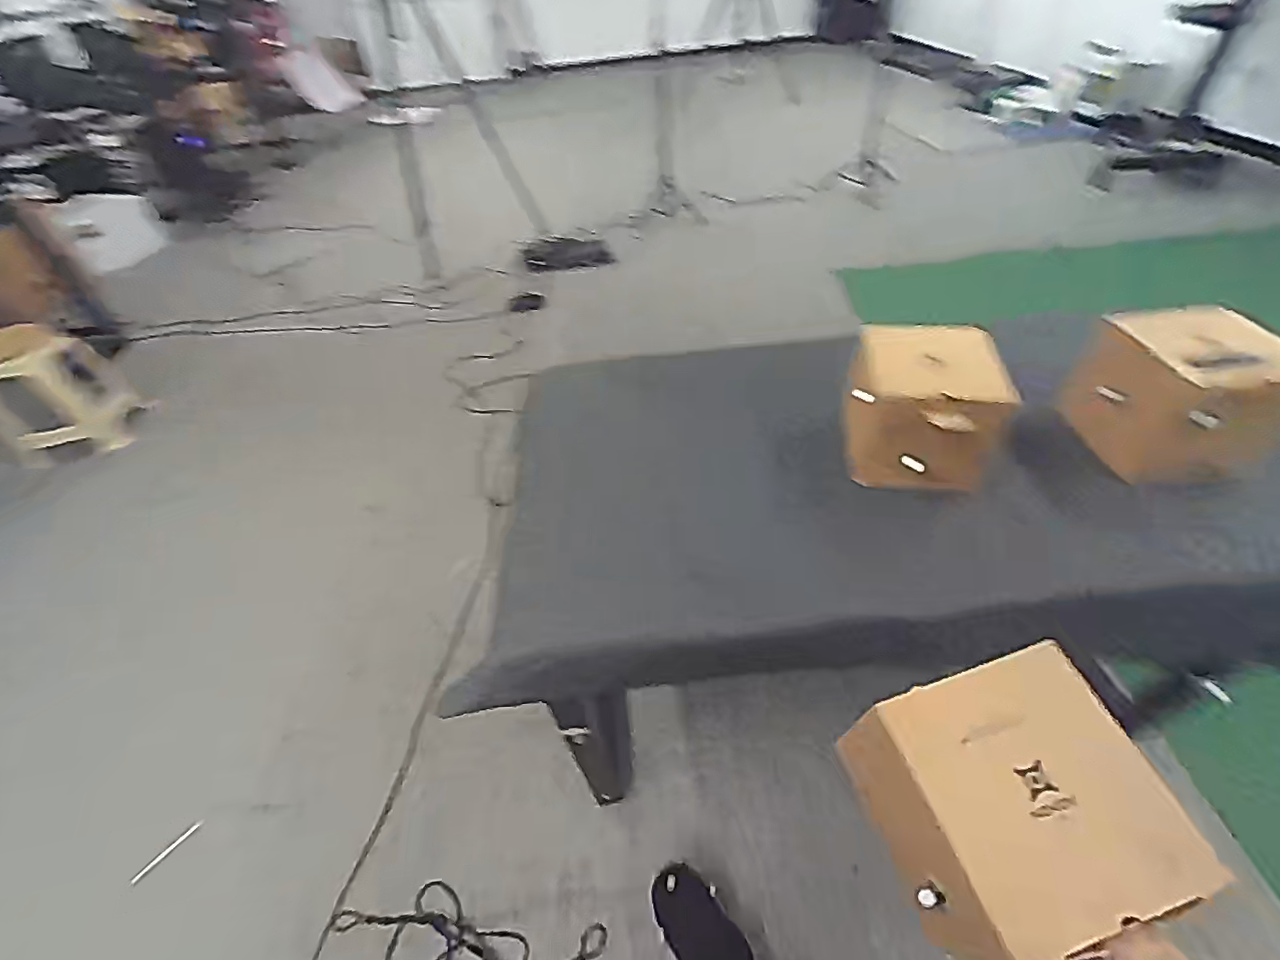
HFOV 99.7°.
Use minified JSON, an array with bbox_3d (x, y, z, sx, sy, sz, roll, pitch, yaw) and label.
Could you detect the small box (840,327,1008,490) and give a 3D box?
[{"bbox_3d":[0.404,-0.109,0.809,0.168,0.176,0.179,4,46,10],"label":"small box"}]
